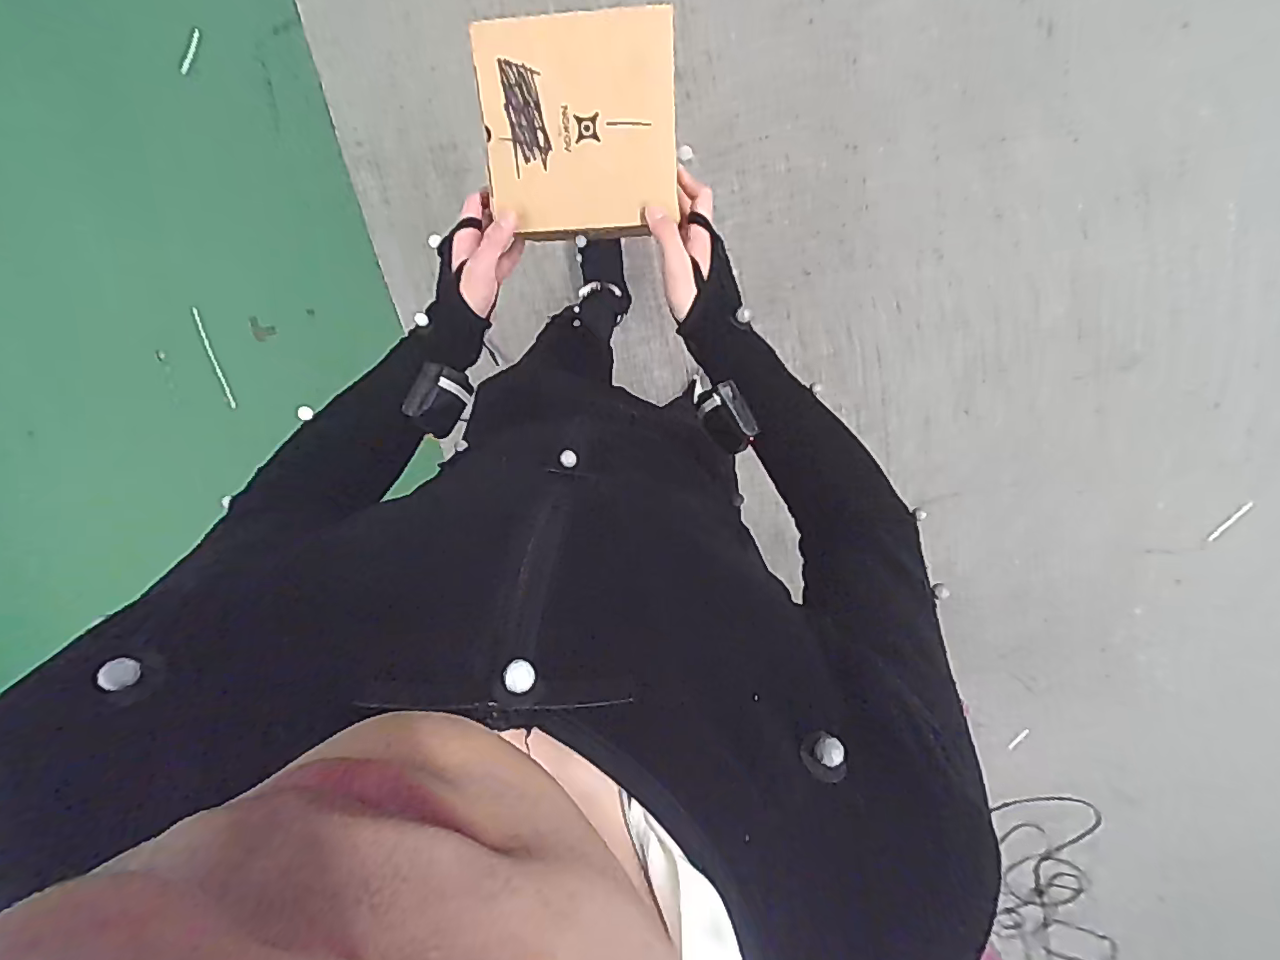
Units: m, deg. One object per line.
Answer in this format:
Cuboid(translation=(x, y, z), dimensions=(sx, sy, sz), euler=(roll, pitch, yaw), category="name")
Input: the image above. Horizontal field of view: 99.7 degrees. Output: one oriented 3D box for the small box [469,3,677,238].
Cuboid(translation=(-0.052, -0.347, 0.558), dimensions=(0.179, 0.176, 0.168), euler=(-2, 111, 5), category="small box")
